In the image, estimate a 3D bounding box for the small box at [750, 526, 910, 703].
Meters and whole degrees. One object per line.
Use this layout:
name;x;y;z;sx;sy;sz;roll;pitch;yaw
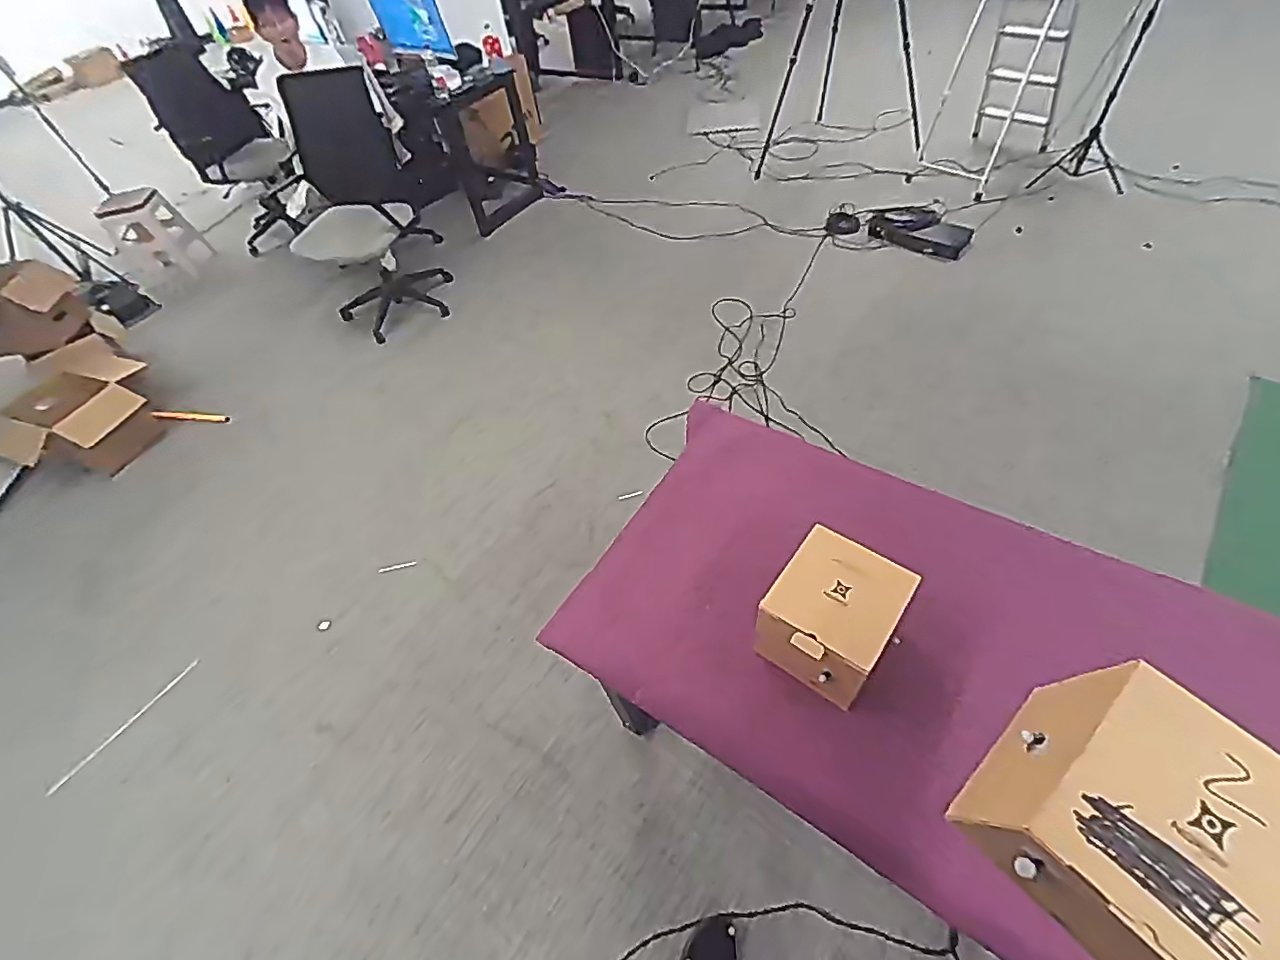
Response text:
small box;0.285;0.213;0.842;0.168;0.176;0.179;30;61;27
